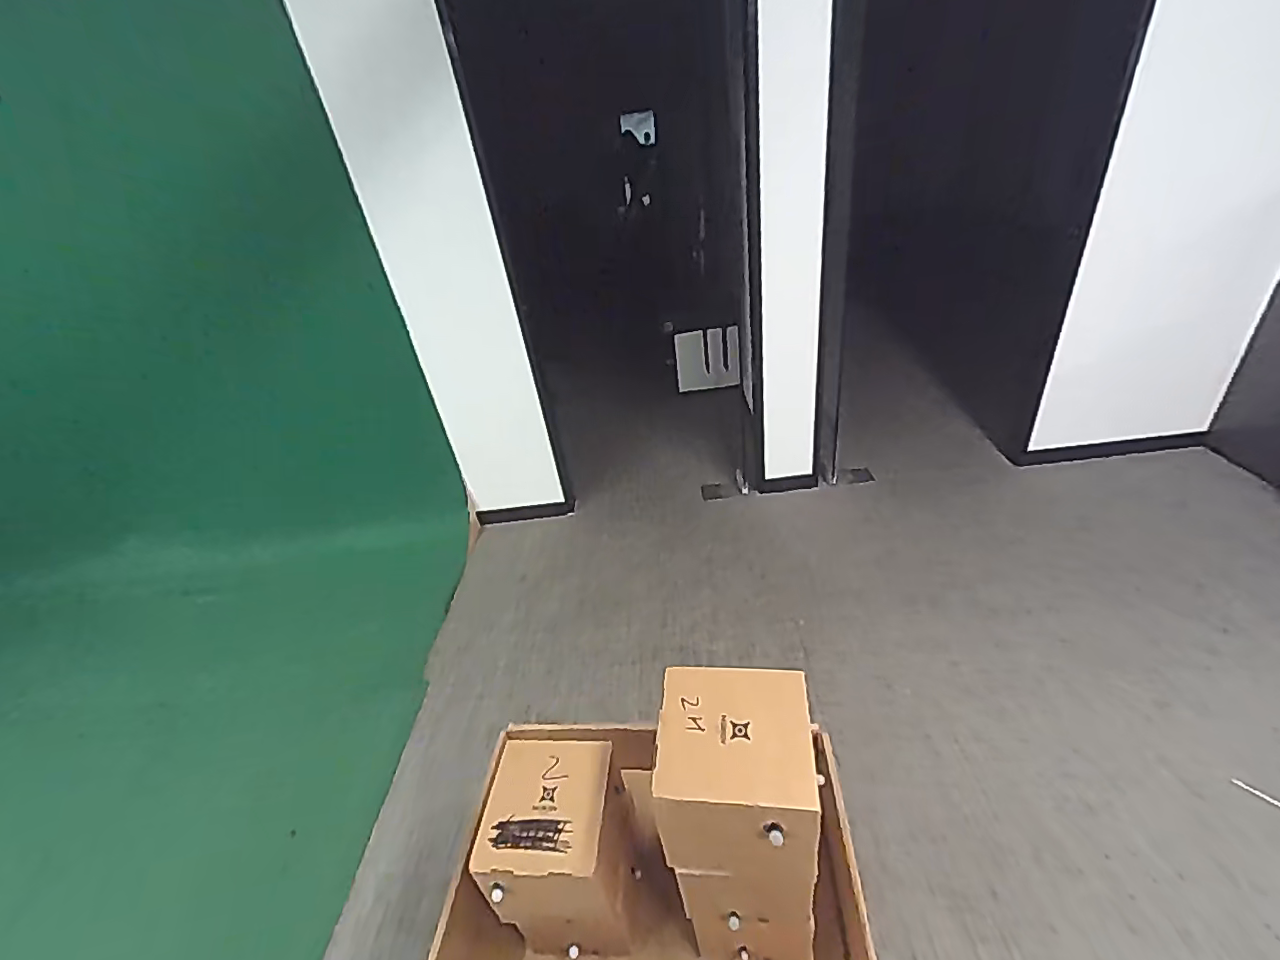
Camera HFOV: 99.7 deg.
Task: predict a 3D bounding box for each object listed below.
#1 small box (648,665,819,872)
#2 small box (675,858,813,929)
[{"bbox_3d":[0.119,0.349,0.661,0.179,0.176,0.168,-4,33,13],"label":"small box"},{"bbox_3d":[0.144,0.482,0.755,0.168,0.176,0.179,-4,34,11],"label":"small box"}]
